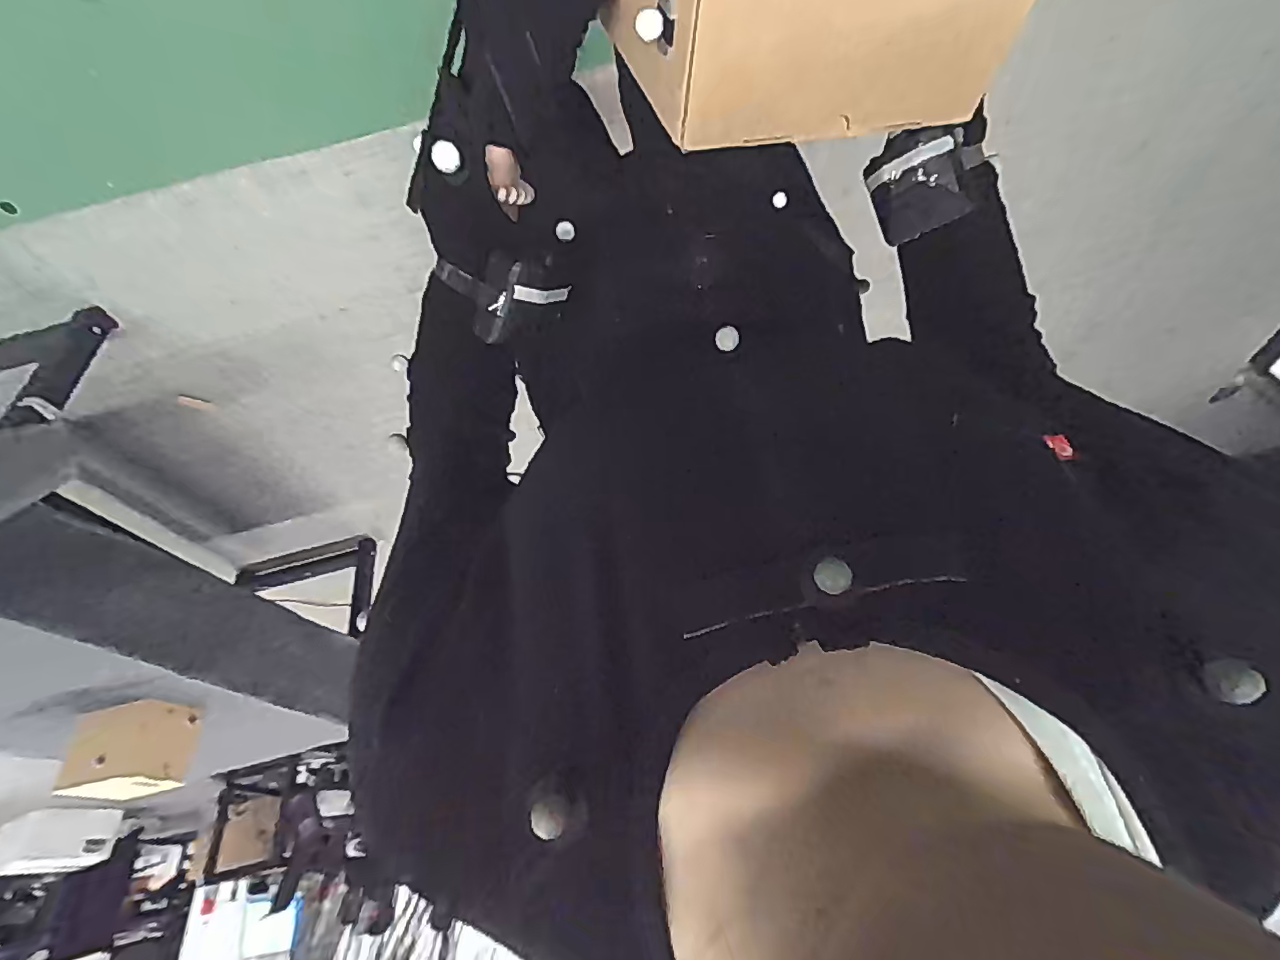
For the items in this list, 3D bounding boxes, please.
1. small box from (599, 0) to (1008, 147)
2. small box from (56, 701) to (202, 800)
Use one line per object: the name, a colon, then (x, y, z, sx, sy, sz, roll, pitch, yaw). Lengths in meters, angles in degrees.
small box: (0.072, -0.292, 0.245, 0.168, 0.176, 0.179, -14, 152, -11)
small box: (-1.188, 0.639, 1.280, 0.179, 0.176, 0.168, -14, 143, 2)
